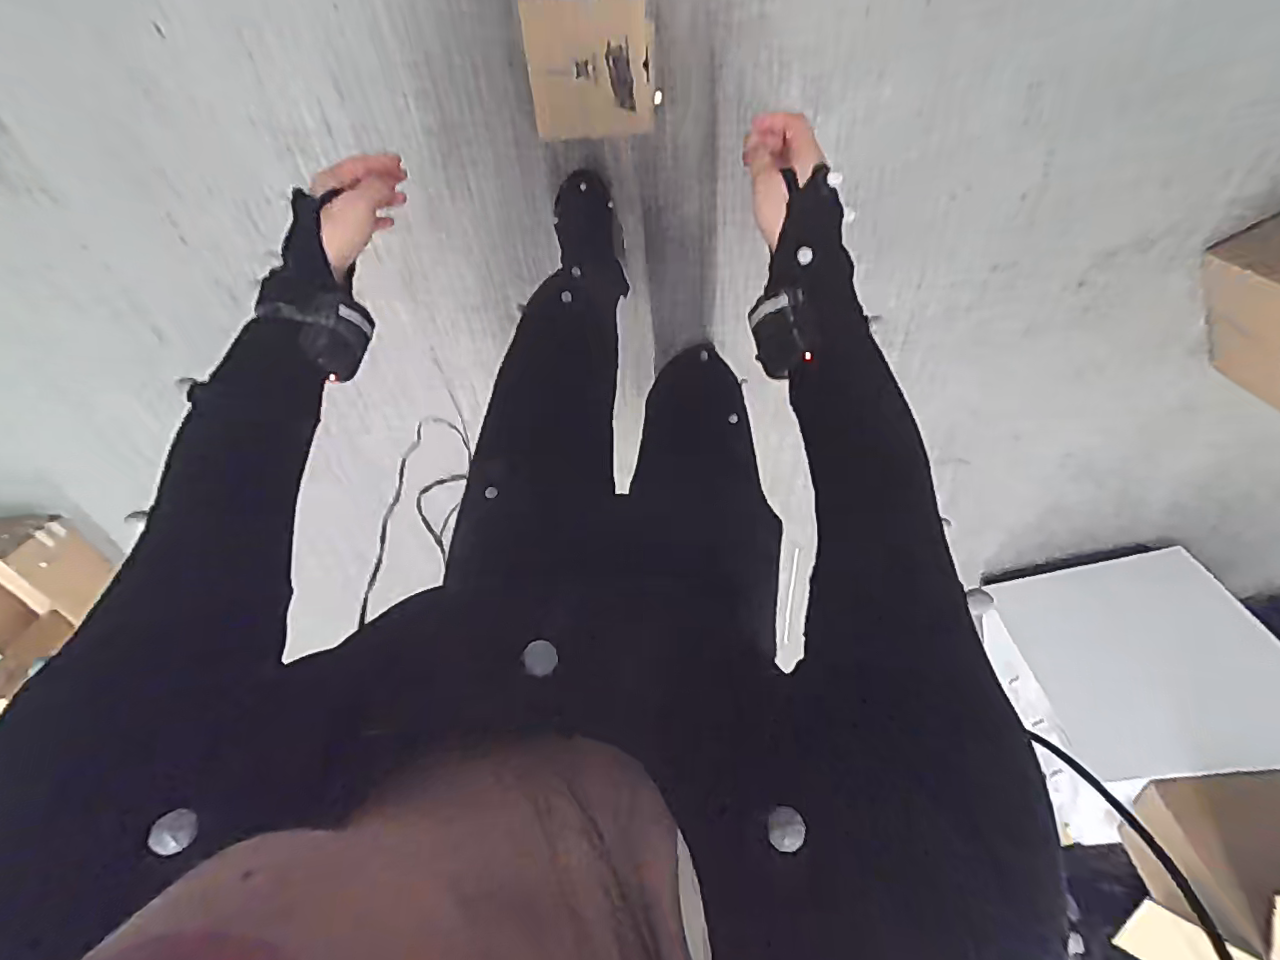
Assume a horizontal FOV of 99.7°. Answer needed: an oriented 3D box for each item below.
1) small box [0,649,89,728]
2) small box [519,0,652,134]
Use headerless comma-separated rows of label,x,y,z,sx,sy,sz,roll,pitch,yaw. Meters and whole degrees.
small box,-1.871,0.637,1.662,0.179,0.176,0.168,-6,129,4
small box,-0.072,-0.650,0.838,0.179,0.176,0.168,-2,130,4
